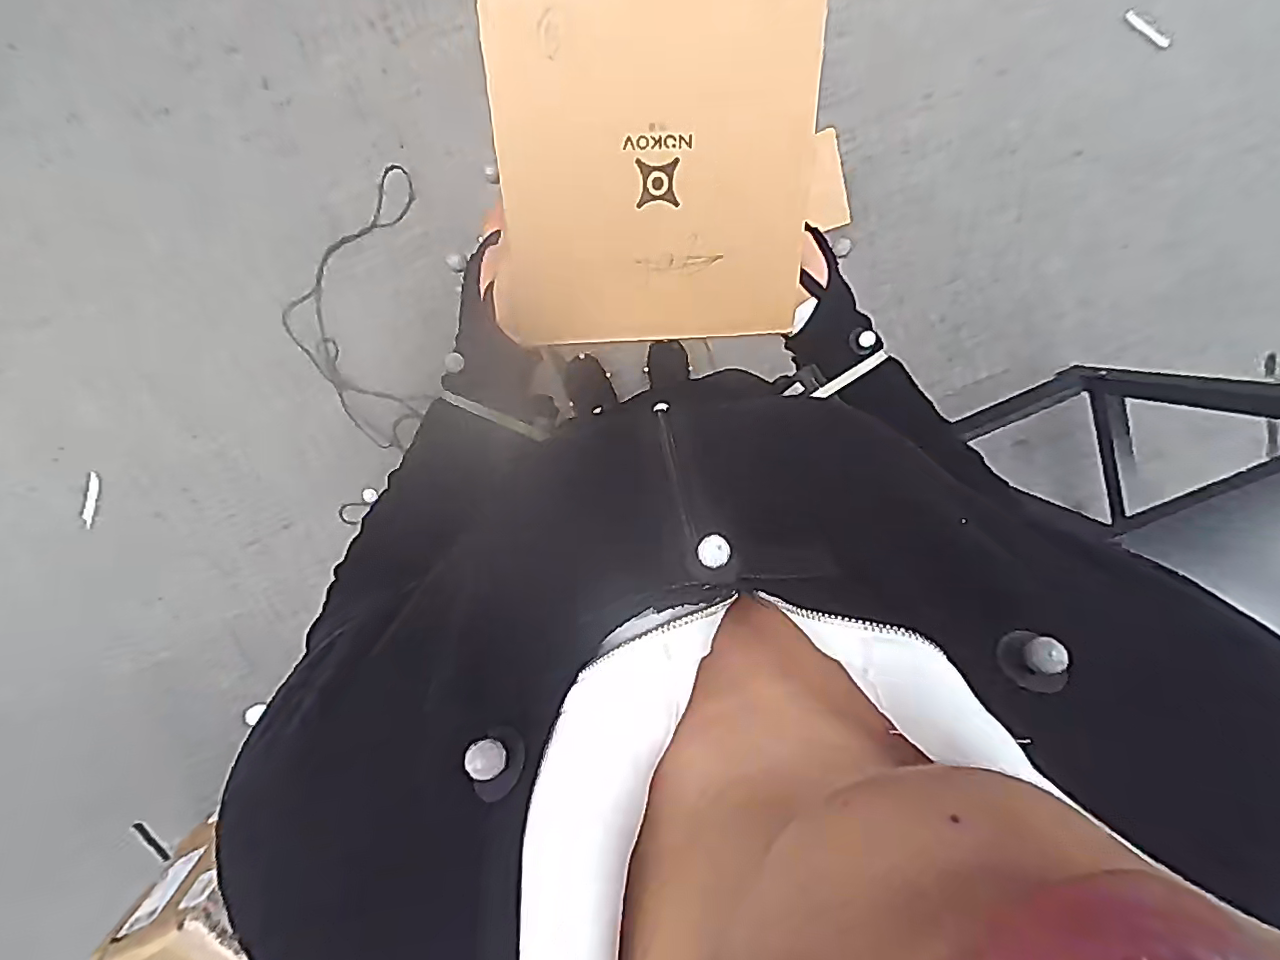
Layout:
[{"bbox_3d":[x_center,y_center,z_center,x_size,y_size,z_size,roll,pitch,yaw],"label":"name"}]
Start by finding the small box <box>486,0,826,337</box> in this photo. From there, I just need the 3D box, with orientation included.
[{"bbox_3d":[0.003,-0.203,0.357,0.168,0.176,0.179,-4,118,-3],"label":"small box"}]

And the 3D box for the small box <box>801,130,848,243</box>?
[{"bbox_3d":[0.304,-0.580,1.121,0.168,0.176,0.179,-18,105,0],"label":"small box"}]
